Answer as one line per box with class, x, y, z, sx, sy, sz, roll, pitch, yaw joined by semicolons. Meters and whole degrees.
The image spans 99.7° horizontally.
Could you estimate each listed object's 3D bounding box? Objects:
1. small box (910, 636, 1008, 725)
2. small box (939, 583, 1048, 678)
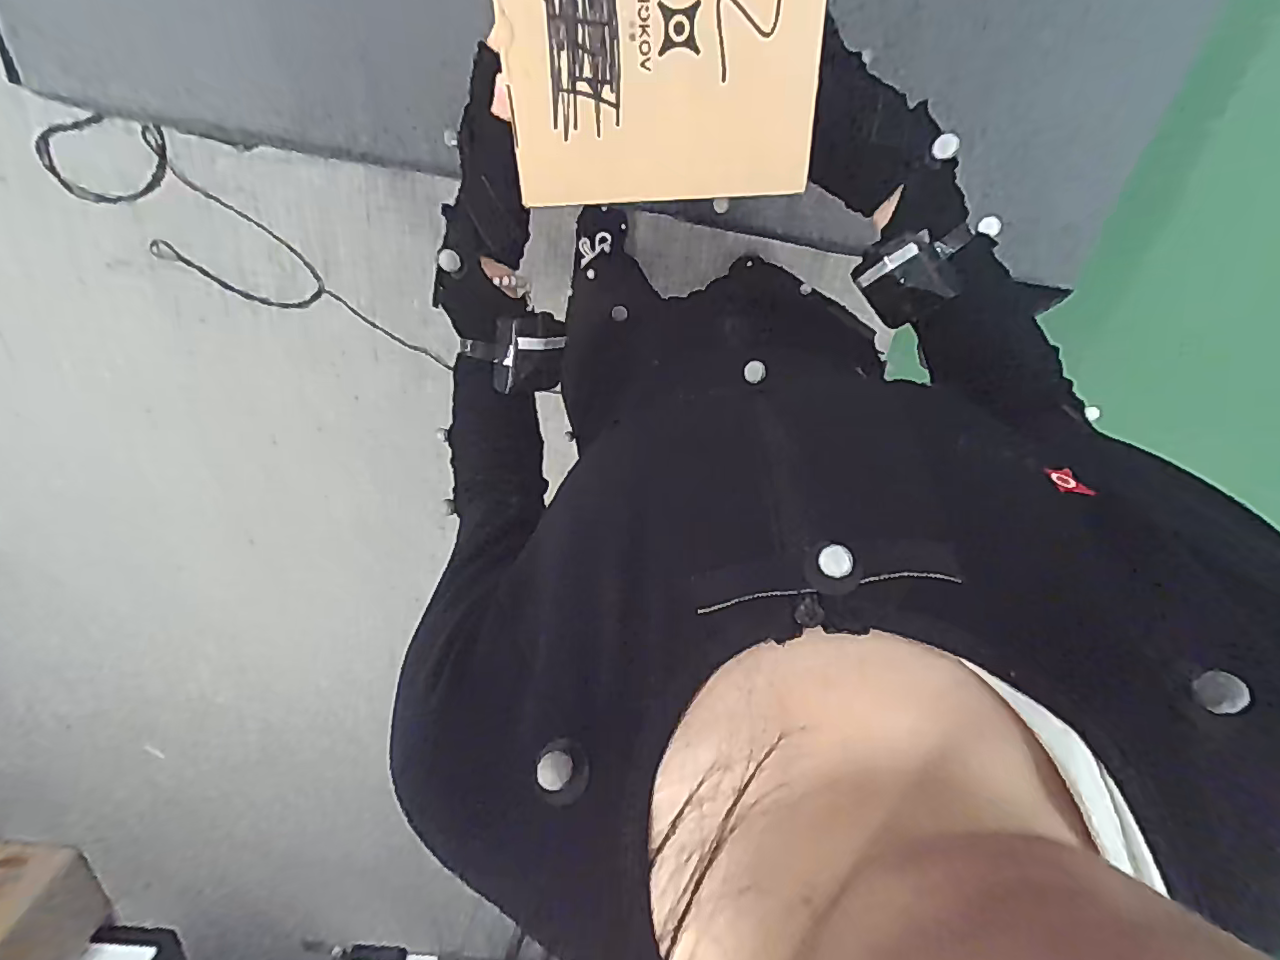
small box;0.946;0.600;1.627;0.168;0.176;0.179;9;118;-5
small box;0.991;0.425;1.539;0.168;0.176;0.179;14;115;-6
